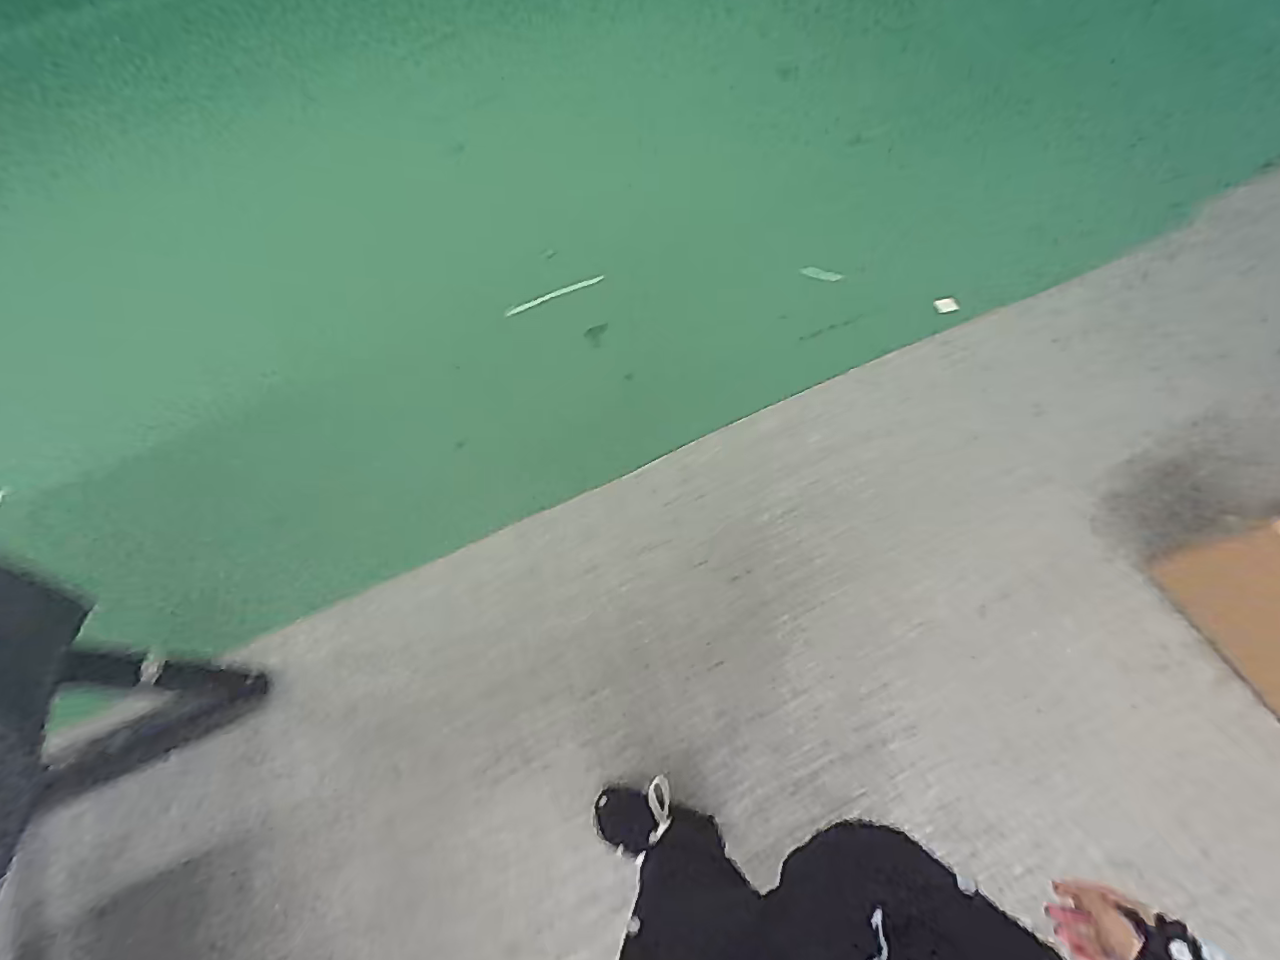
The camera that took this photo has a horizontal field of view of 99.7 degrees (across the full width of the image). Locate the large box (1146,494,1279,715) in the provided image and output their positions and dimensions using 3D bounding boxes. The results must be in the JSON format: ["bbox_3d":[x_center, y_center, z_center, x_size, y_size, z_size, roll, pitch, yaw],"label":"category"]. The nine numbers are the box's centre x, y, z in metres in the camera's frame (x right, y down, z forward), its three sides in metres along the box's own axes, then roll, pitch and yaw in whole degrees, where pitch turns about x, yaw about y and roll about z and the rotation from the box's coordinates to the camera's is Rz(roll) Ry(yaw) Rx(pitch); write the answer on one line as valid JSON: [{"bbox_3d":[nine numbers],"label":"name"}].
[{"bbox_3d":[1.381,0.242,1.067,0.320,0.320,0.408,-26,68,-8],"label":"large box"}]
